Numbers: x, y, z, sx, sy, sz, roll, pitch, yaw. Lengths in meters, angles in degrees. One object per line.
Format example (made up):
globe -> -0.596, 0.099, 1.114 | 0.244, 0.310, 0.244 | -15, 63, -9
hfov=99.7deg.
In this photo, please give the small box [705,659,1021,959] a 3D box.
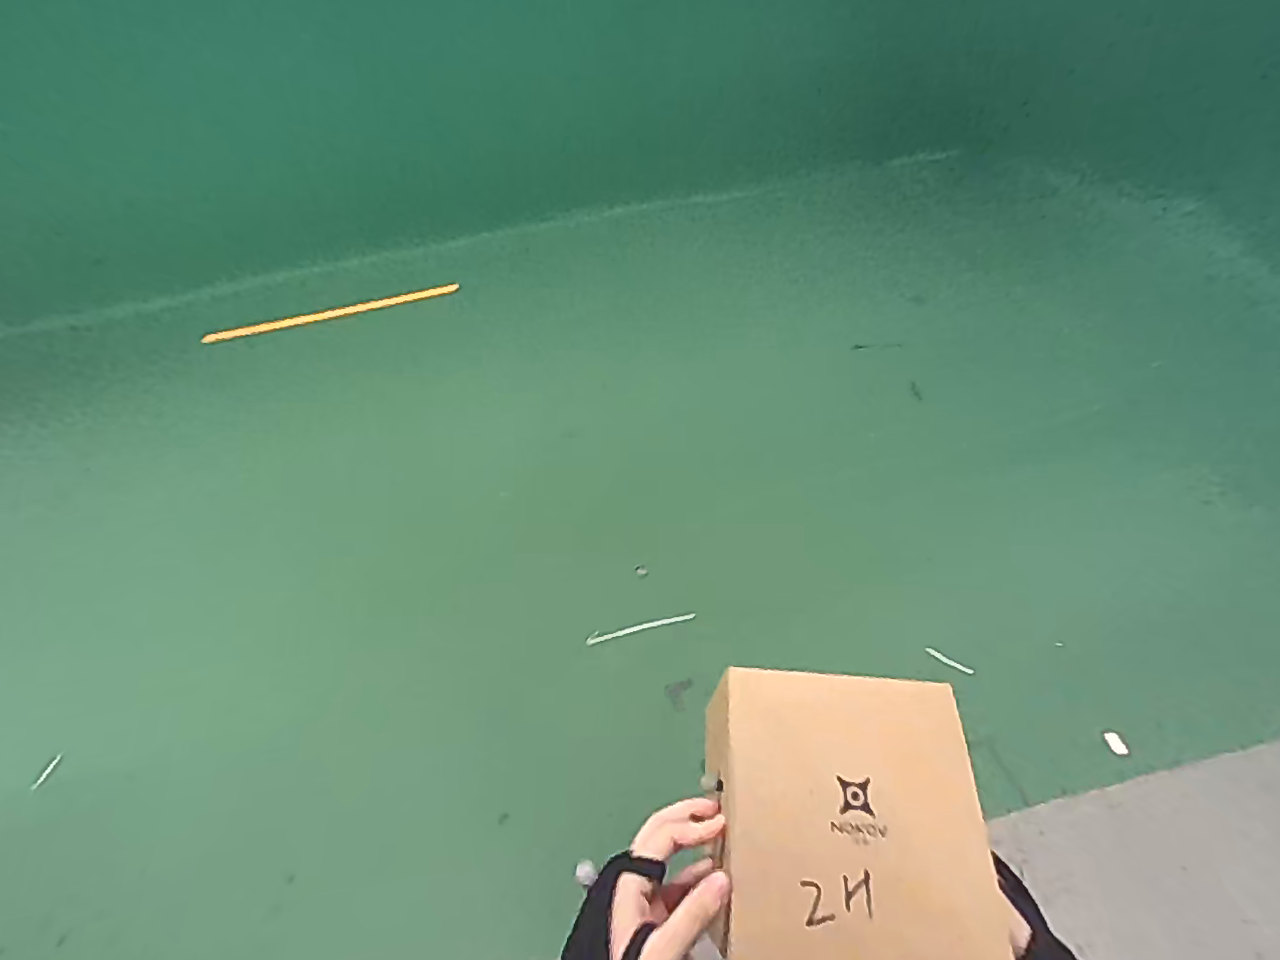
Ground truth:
small box -> 0.141, 0.255, 0.417 | 0.168, 0.176, 0.179 | 3, 56, 2
